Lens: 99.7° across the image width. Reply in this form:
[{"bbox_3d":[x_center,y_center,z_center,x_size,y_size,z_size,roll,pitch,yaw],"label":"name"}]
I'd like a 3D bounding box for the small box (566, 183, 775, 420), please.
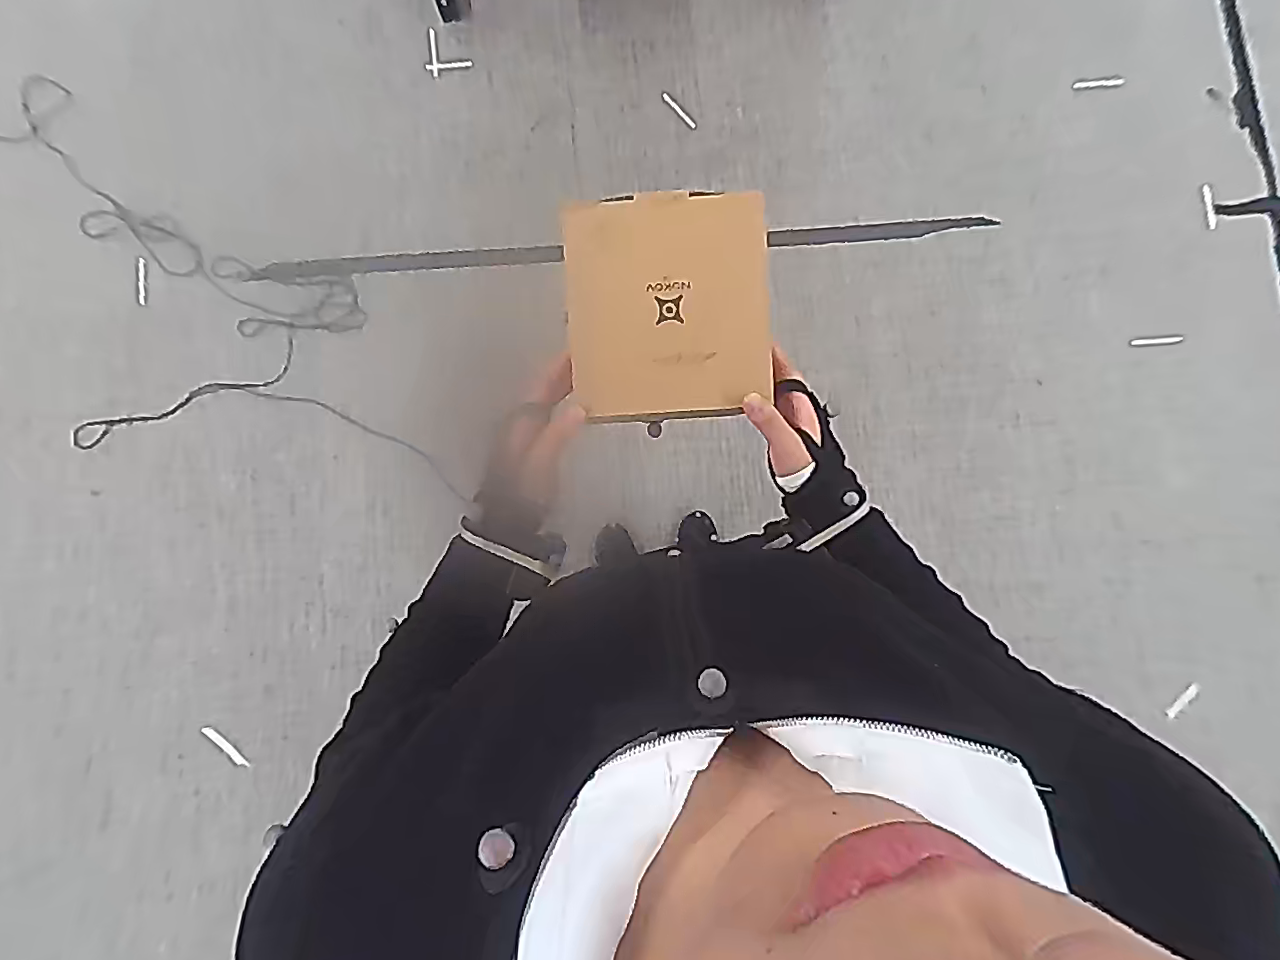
[{"bbox_3d":[0.024,-0.153,0.517,0.168,0.176,0.179,-4,94,0],"label":"small box"}]
